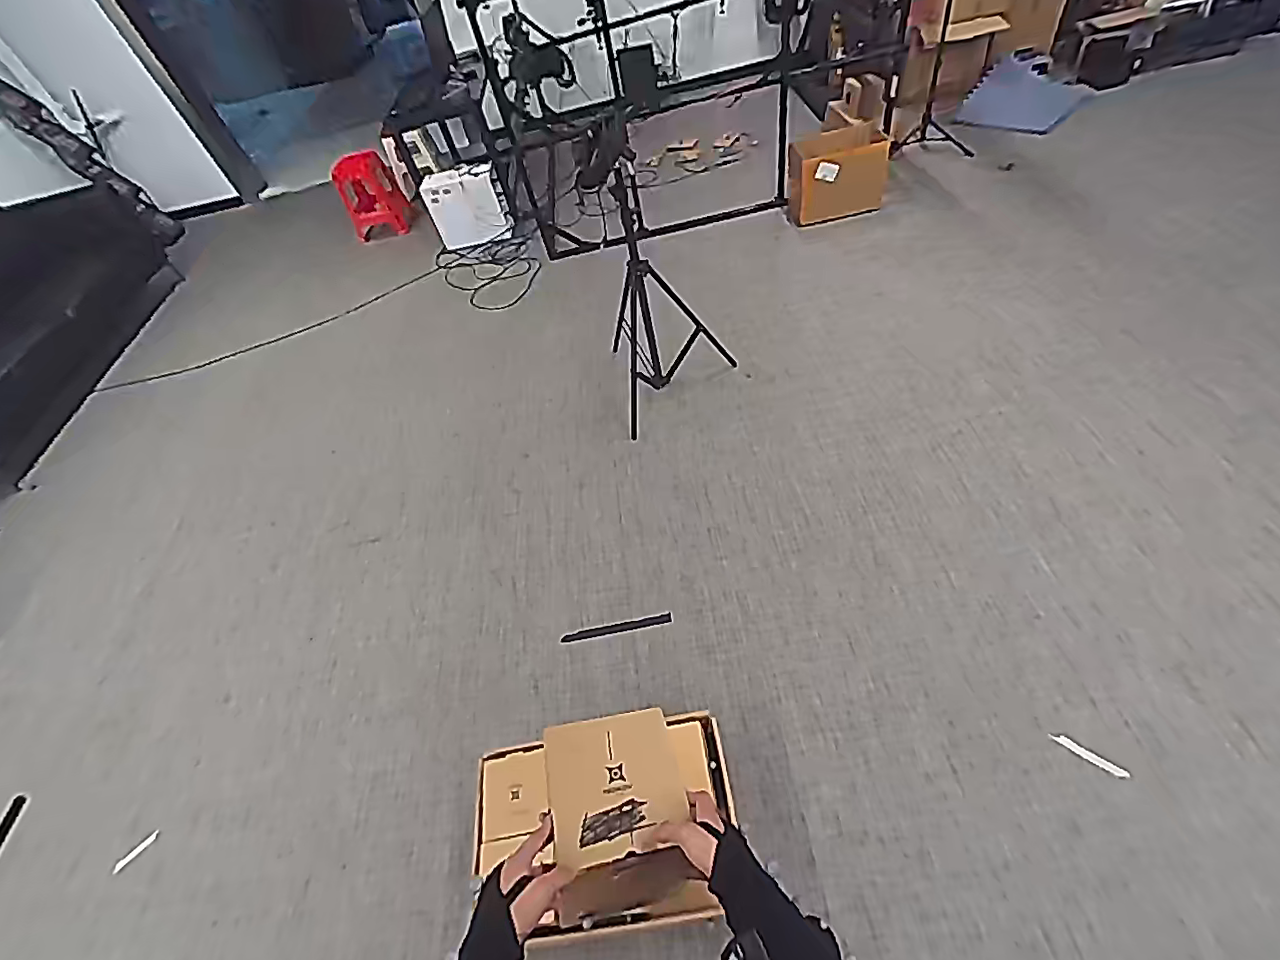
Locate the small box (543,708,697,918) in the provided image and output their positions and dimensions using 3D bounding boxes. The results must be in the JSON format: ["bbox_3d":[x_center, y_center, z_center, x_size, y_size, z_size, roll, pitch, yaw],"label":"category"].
[{"bbox_3d":[-0.034,0.435,0.707,0.168,0.176,0.179,-5,35,-13],"label":"small box"}]
